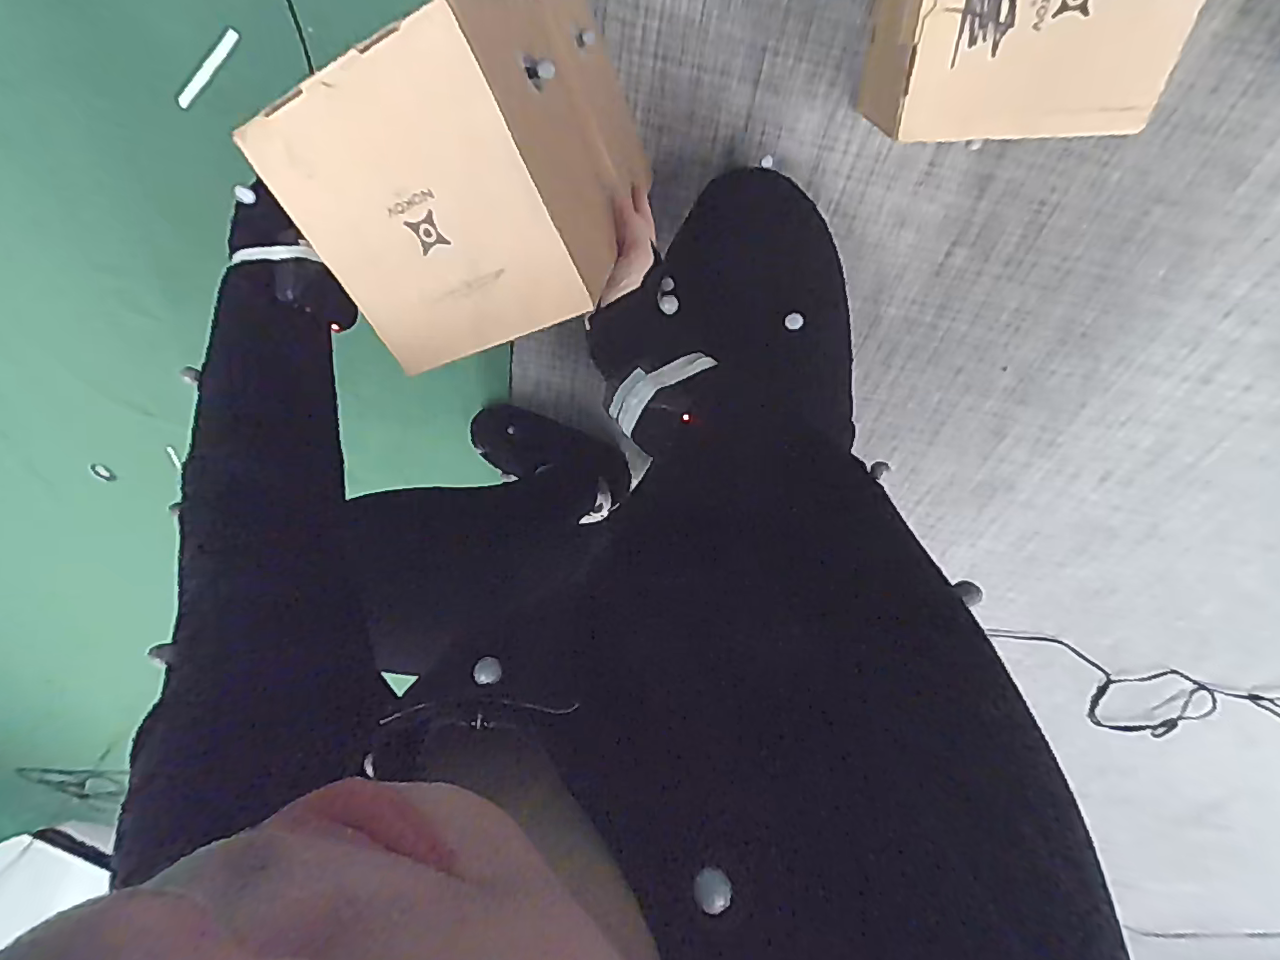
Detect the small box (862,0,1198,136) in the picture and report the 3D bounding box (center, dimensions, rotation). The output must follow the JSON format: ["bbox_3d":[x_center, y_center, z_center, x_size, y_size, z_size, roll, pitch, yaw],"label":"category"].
[{"bbox_3d":[0.288,-0.375,0.418,0.179,0.176,0.168,2,131,7],"label":"small box"}]
